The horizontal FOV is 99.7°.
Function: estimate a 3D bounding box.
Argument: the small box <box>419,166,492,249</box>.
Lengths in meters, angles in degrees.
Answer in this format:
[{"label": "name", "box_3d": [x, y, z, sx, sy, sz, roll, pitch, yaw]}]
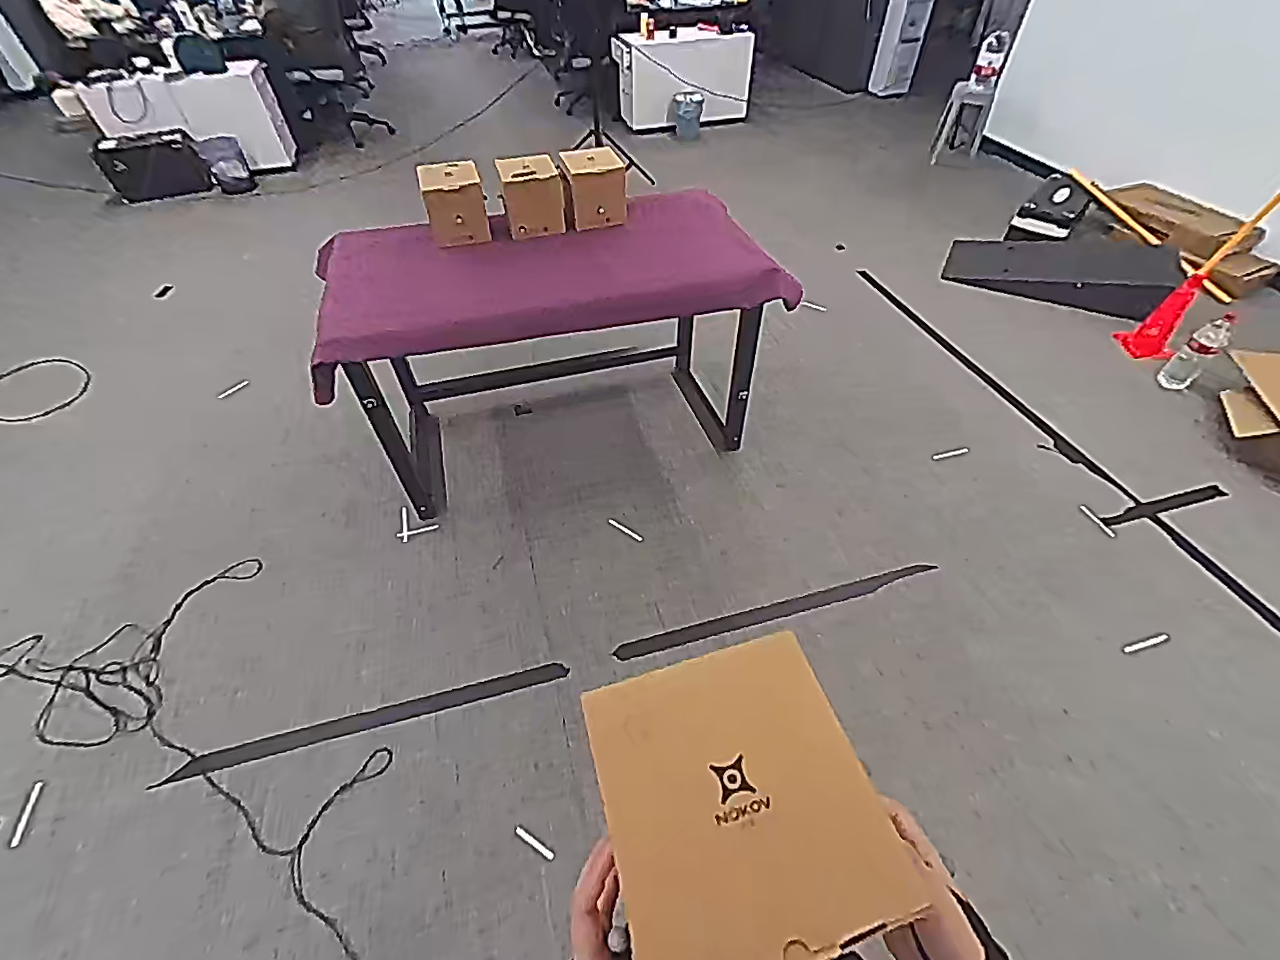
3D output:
[{"label": "small box", "box_3d": [-0.550, -0.809, 1.621, 0.168, 0.176, 0.179, -14, 52, -12]}]

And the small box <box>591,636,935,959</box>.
[{"label": "small box", "box_3d": [0.066, 0.250, 0.399, 0.168, 0.176, 0.179, -14, 48, -9]}]
